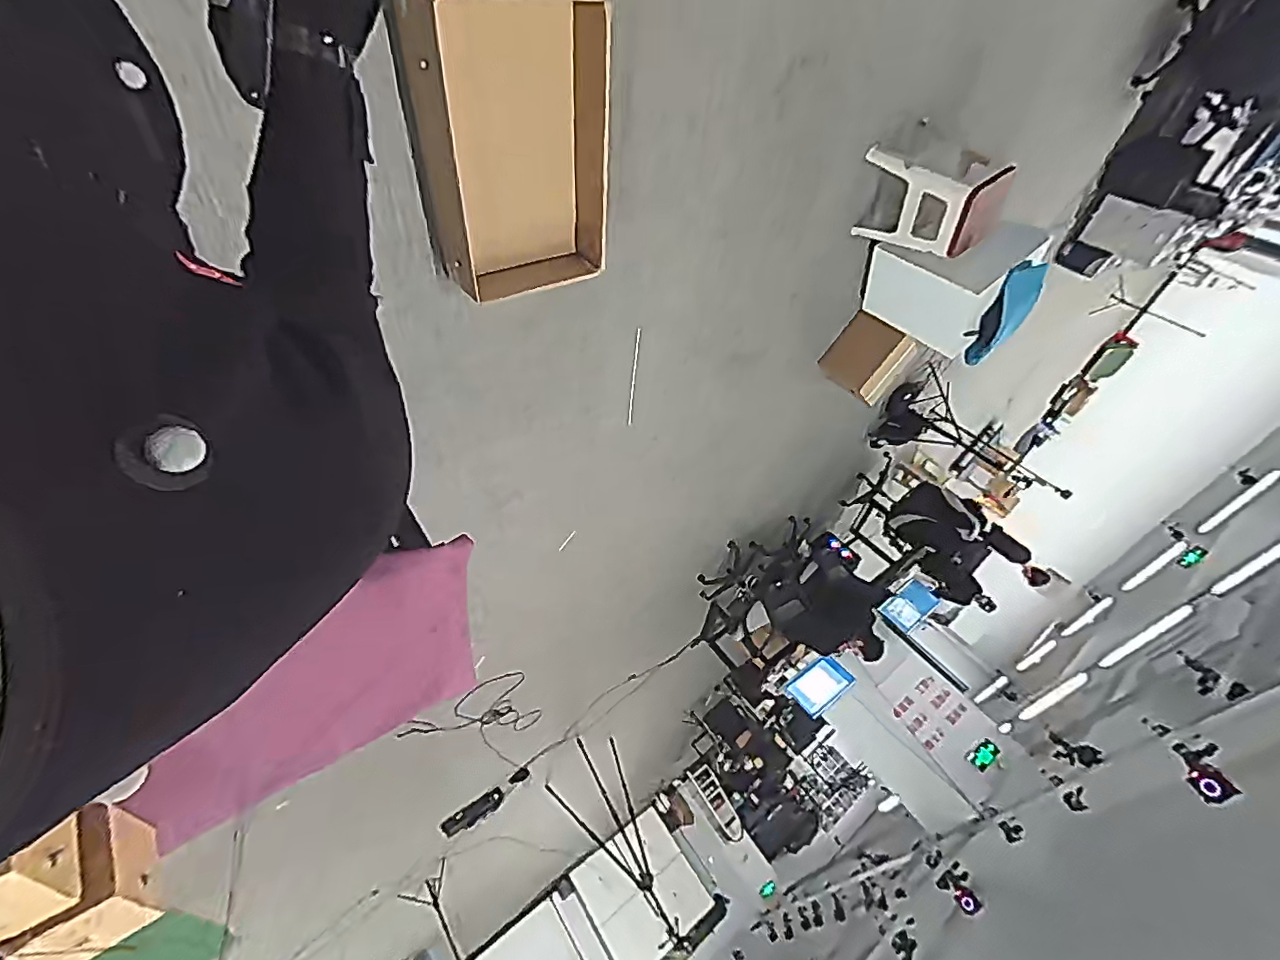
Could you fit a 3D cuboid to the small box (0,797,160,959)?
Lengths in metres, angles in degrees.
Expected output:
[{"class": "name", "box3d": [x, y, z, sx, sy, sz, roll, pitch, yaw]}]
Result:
[{"class": "small box", "box3d": [-0.977, 0.689, 0.934, 0.168, 0.176, 0.179, -23, 143, -31]}]

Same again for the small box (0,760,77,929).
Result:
[{"class": "small box", "box3d": [-0.959, 0.537, 0.769, 0.168, 0.176, 0.179, -22, 143, -34]}]
